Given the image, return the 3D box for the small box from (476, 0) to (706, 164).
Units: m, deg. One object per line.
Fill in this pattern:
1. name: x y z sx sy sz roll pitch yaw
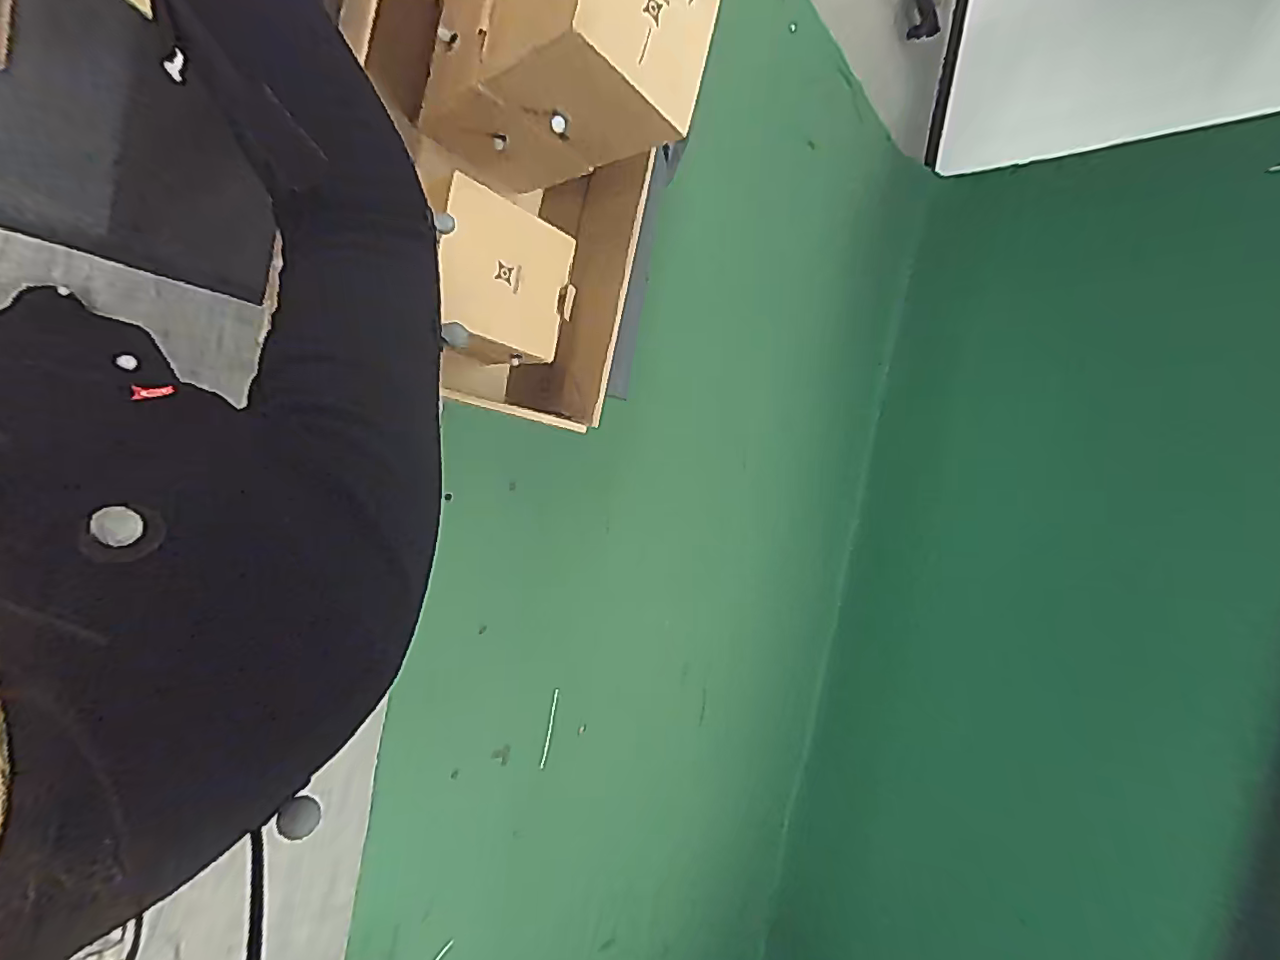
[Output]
1. small box: -0.056 -0.487 0.593 0.168 0.176 0.179 13 93 -47
